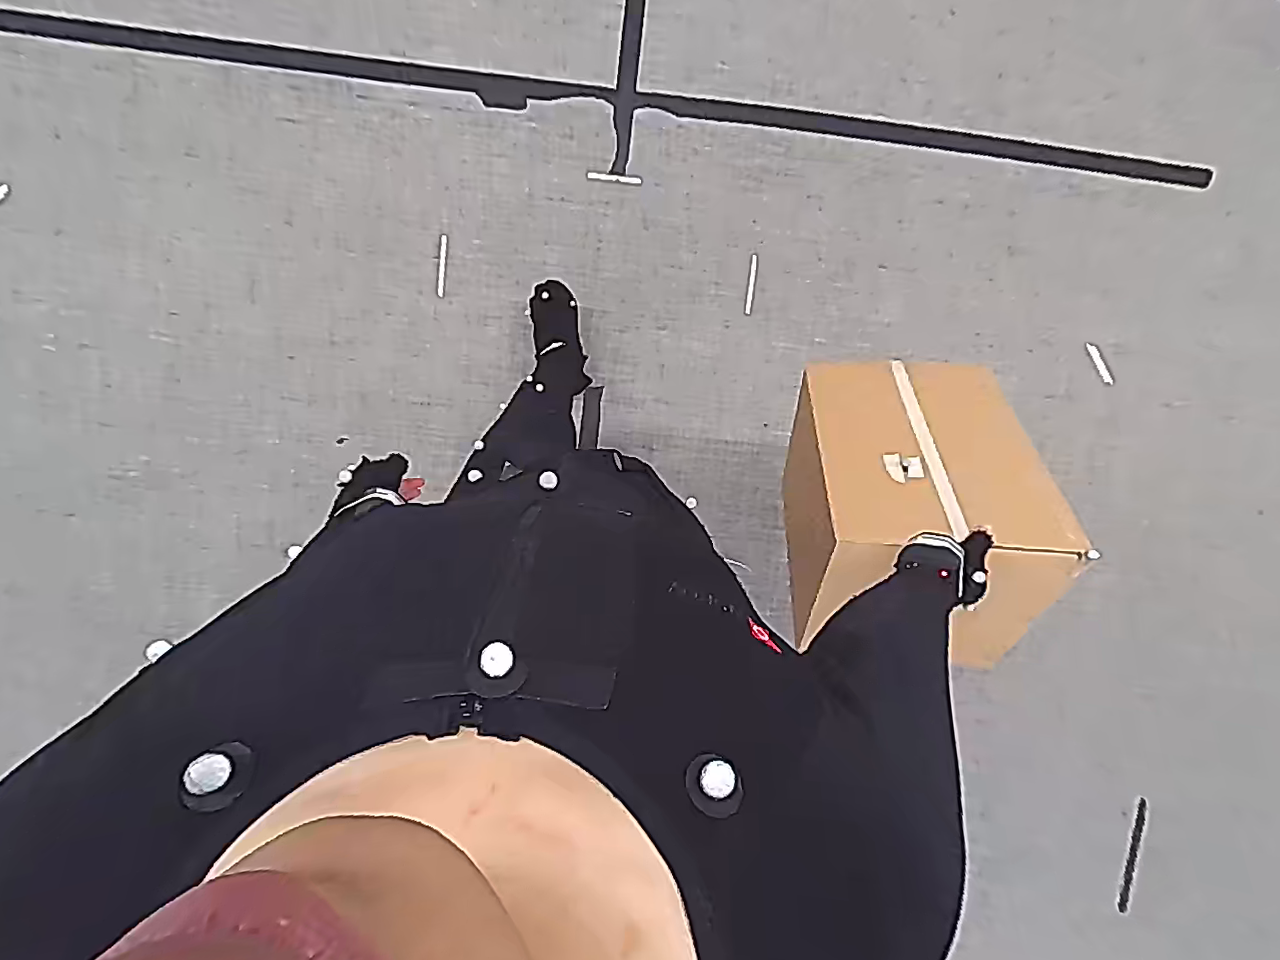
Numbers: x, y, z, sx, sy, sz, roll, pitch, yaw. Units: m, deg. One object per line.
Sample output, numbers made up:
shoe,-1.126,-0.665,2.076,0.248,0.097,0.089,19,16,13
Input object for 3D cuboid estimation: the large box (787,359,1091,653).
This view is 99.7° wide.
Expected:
large box,0.448,0.037,0.939,0.320,0.408,0.320,3,139,7
